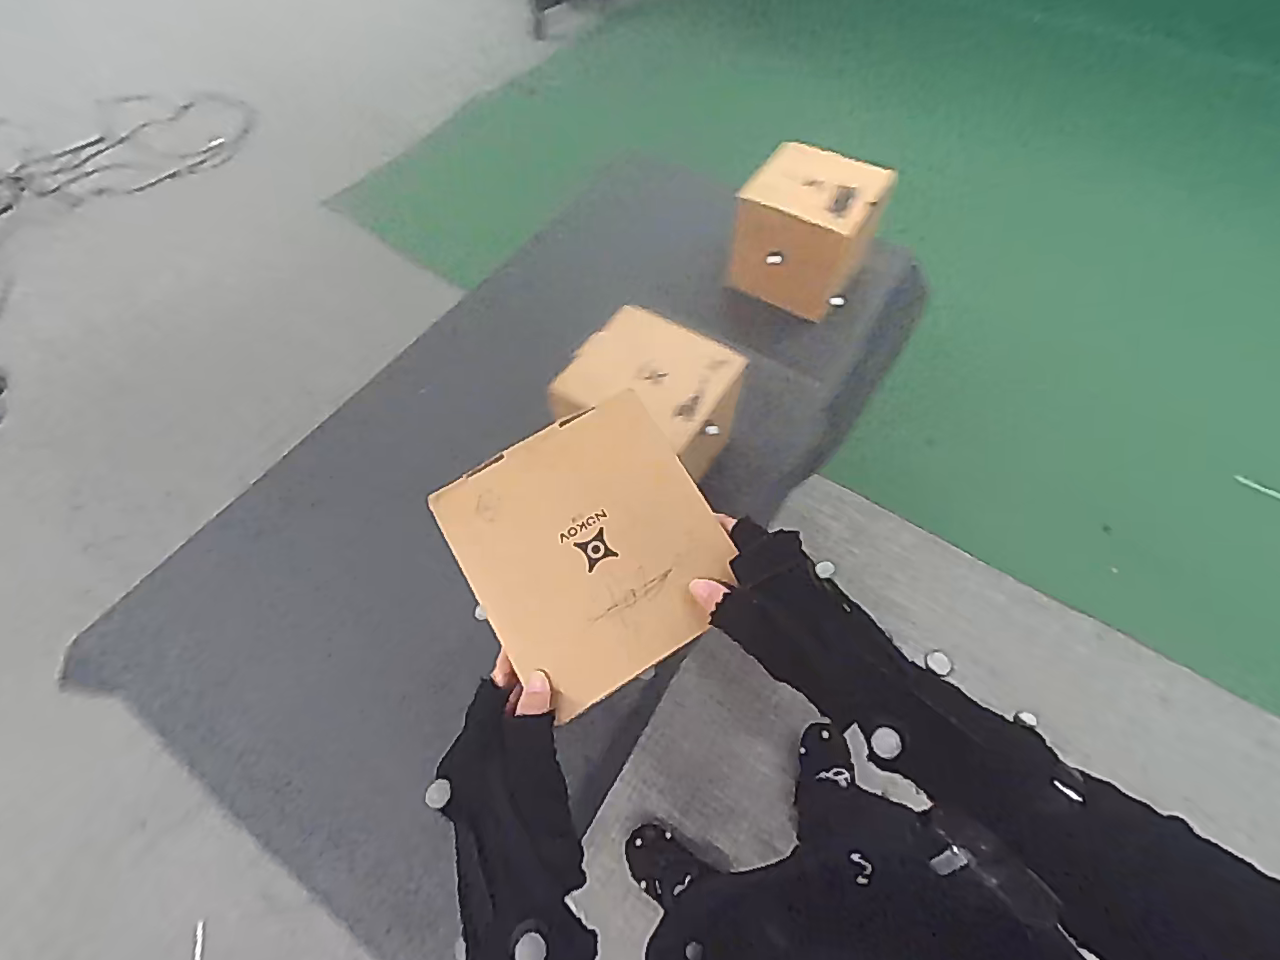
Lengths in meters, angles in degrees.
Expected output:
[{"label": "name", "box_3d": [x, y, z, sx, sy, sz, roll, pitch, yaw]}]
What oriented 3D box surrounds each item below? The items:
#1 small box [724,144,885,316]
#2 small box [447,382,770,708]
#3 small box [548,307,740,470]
[{"label": "small box", "box_3d": [0.254, -0.395, 0.873, 0.179, 0.176, 0.168, 30, 66, 18]}, {"label": "small box", "box_3d": [-0.027, 0.056, 0.445, 0.168, 0.176, 0.179, -29, 79, -8]}, {"label": "small box", "box_3d": [0.008, -0.086, 0.710, 0.179, 0.176, 0.168, 29, 66, 17]}]
